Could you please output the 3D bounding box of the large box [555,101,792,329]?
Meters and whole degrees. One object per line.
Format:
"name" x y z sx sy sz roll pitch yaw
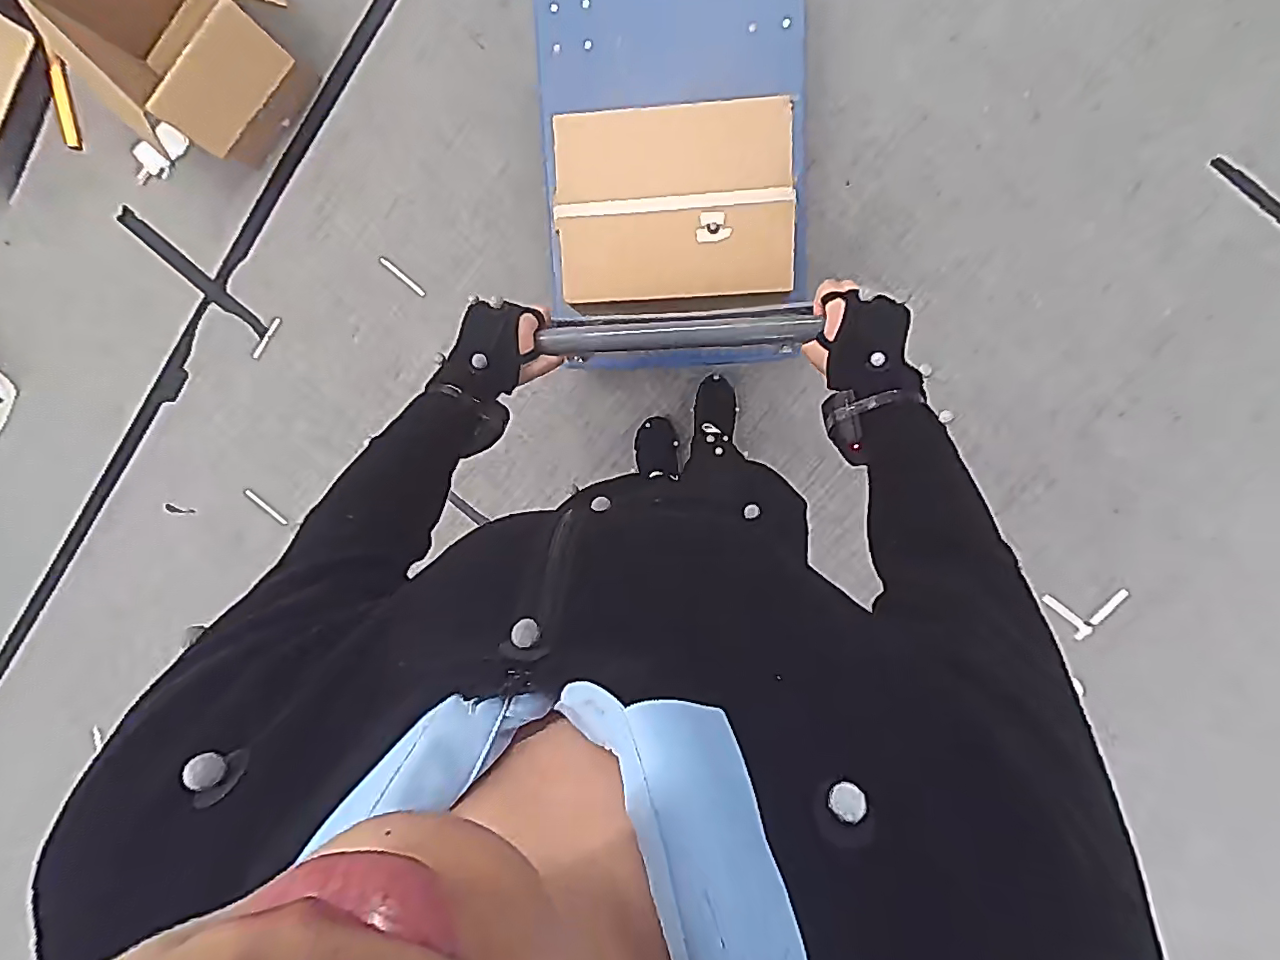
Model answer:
"large box" 0.067 -0.491 1.079 0.408 0.320 0.320 -2 99 4
